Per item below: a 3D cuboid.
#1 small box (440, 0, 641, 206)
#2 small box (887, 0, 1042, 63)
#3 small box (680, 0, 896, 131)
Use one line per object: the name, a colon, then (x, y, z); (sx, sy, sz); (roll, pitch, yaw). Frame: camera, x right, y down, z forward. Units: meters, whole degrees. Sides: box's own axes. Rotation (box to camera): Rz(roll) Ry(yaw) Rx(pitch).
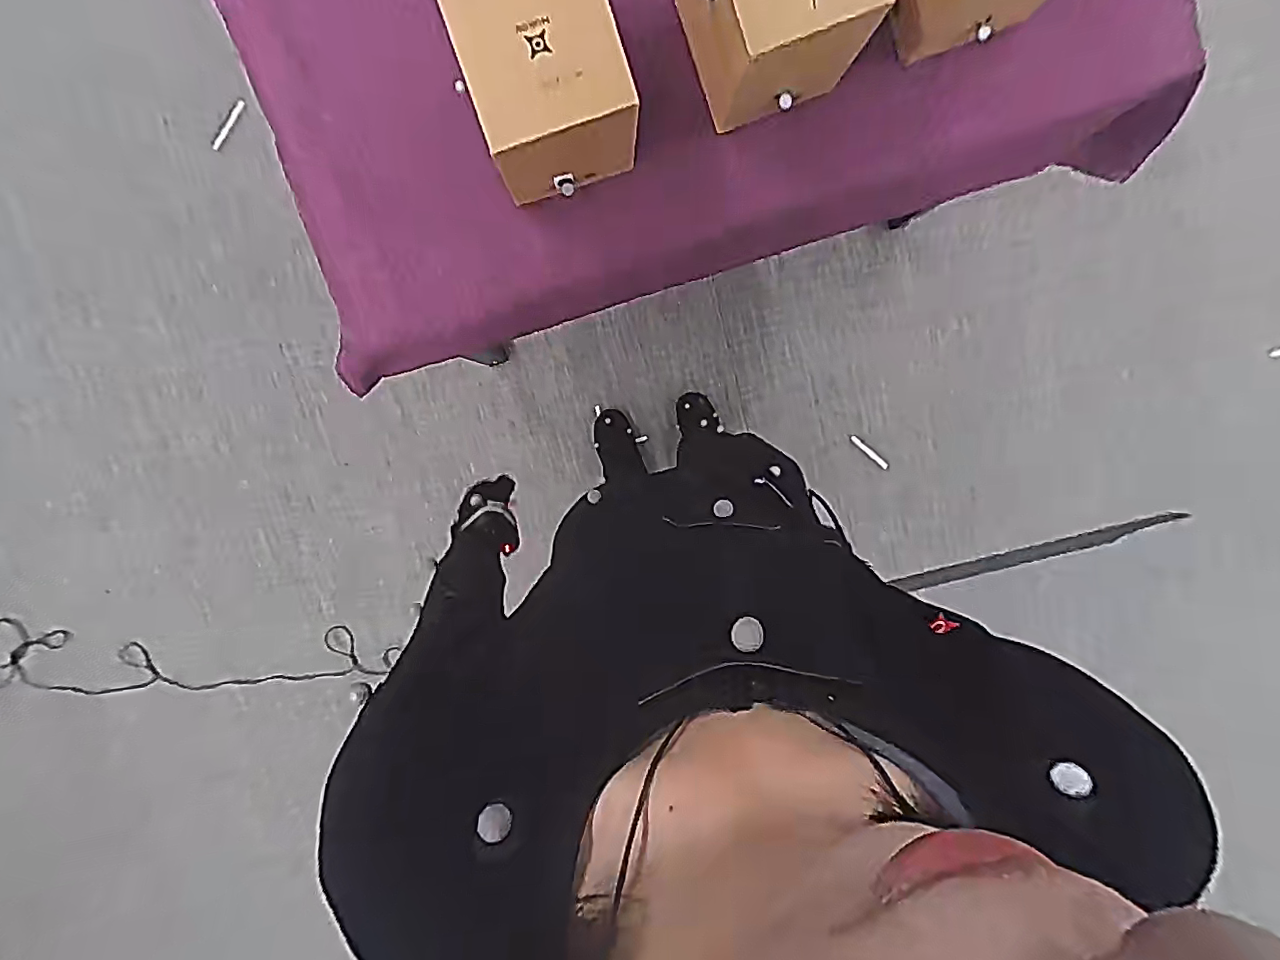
small box: (-0.106, -0.454, 0.624); (0.168, 0.176, 0.179); (-19, 99, 1)
small box: (0.404, -0.639, 0.624); (0.179, 0.176, 0.168); (-21, 98, 0)
small box: (0.154, -0.553, 0.623); (0.168, 0.176, 0.179); (-21, 99, 0)
